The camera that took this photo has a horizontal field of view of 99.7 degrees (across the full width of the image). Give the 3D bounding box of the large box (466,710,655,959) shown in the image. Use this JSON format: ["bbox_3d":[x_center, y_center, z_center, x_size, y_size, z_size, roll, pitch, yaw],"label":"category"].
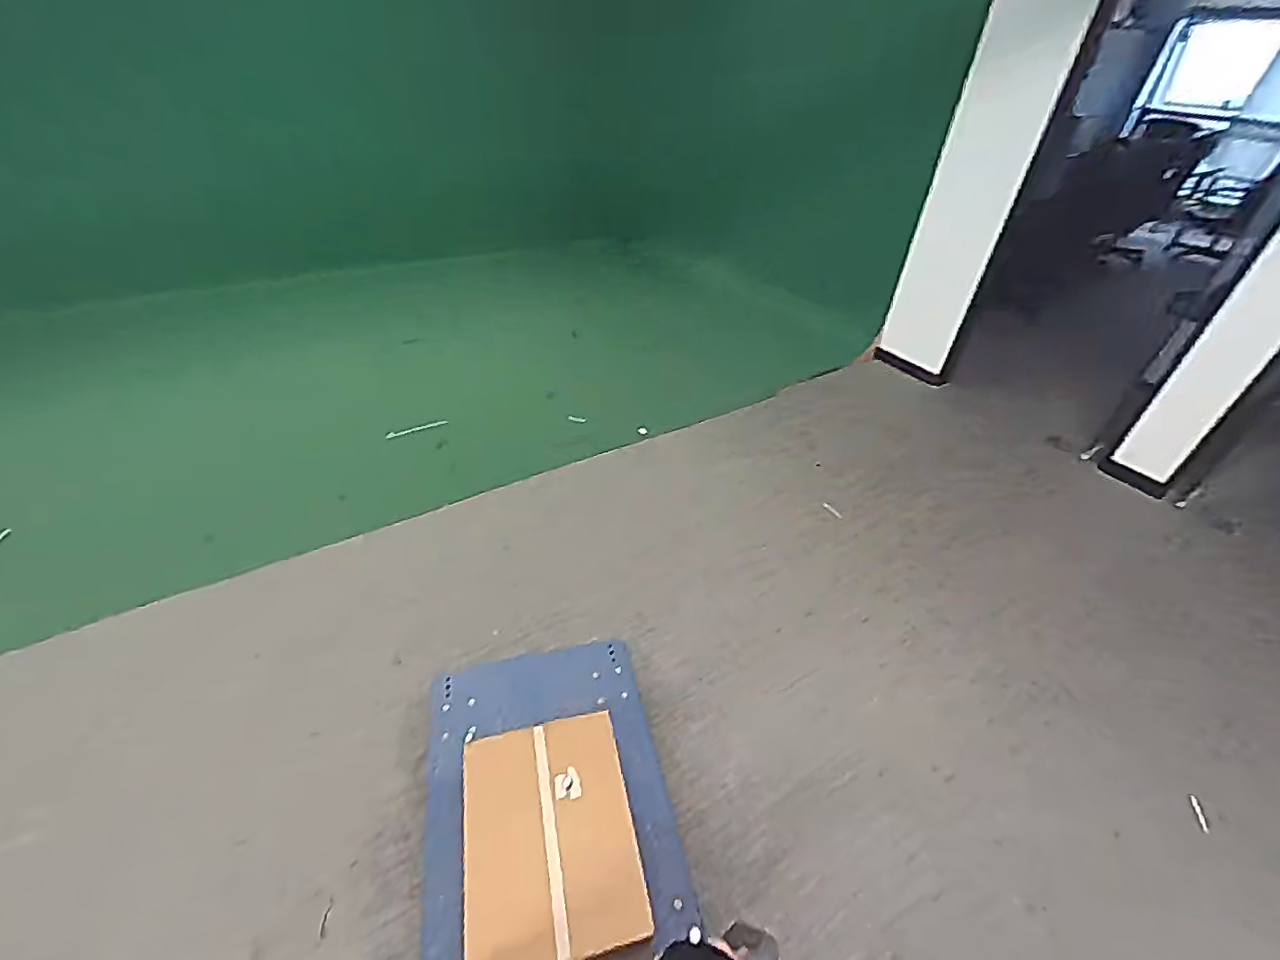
[{"bbox_3d":[-0.174,0.775,1.130,0.320,0.320,0.408,-8,40,-13],"label":"large box"}]
